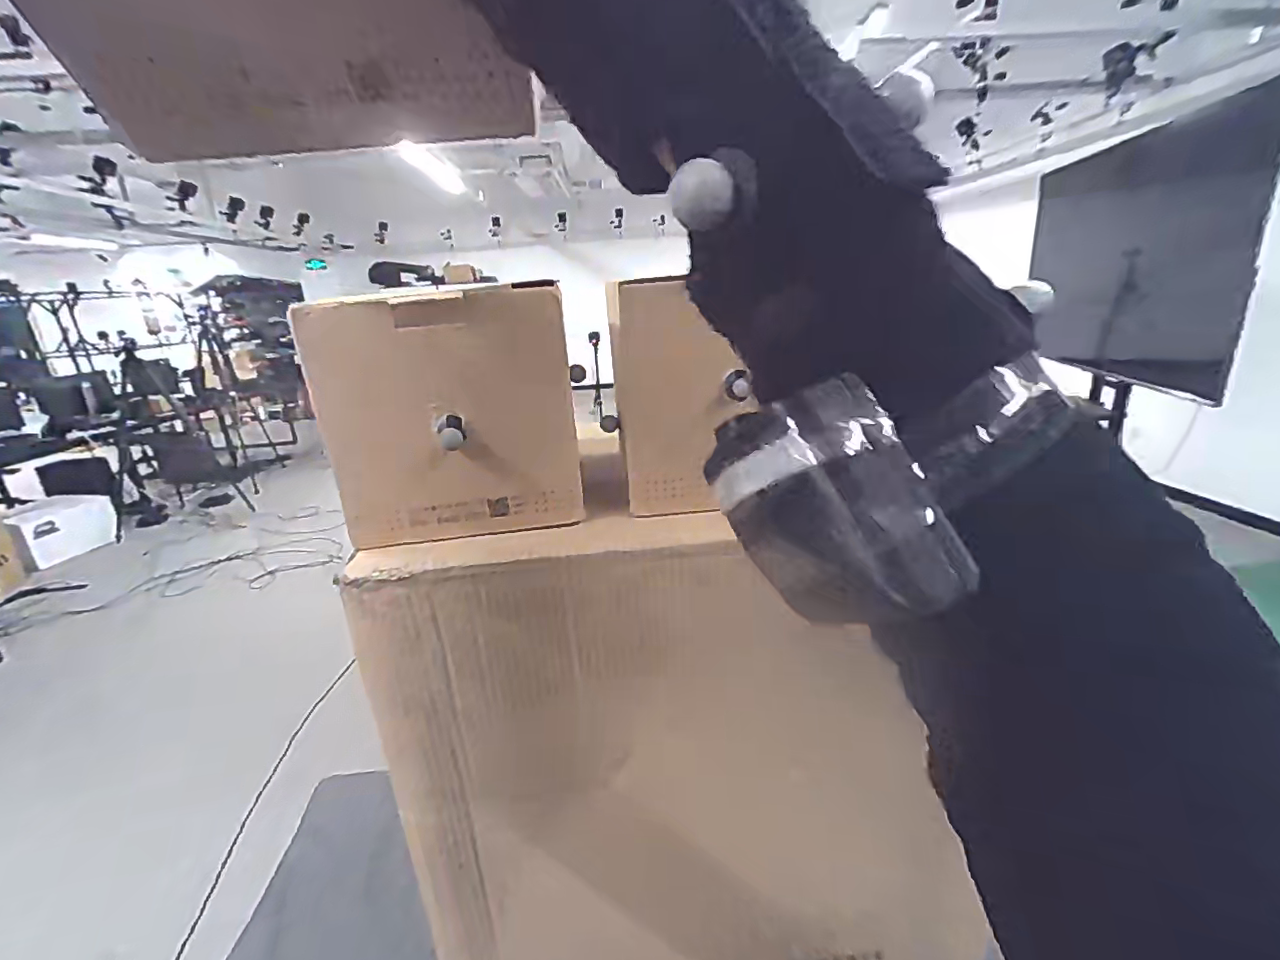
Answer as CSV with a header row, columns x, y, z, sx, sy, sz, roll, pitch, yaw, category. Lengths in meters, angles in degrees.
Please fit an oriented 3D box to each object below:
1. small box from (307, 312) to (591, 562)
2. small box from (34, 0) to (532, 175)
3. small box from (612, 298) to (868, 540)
x,y,z,sx,sy,sz,roll,pitch,yaw,category
-0.137,-0.041,0.454,0.168,0.176,0.179,-8,20,-8,small box
-0.138,-0.246,0.217,0.168,0.176,0.179,-6,60,-5,small box
0.069,-0.061,0.465,0.179,0.176,0.168,-5,20,-3,small box
